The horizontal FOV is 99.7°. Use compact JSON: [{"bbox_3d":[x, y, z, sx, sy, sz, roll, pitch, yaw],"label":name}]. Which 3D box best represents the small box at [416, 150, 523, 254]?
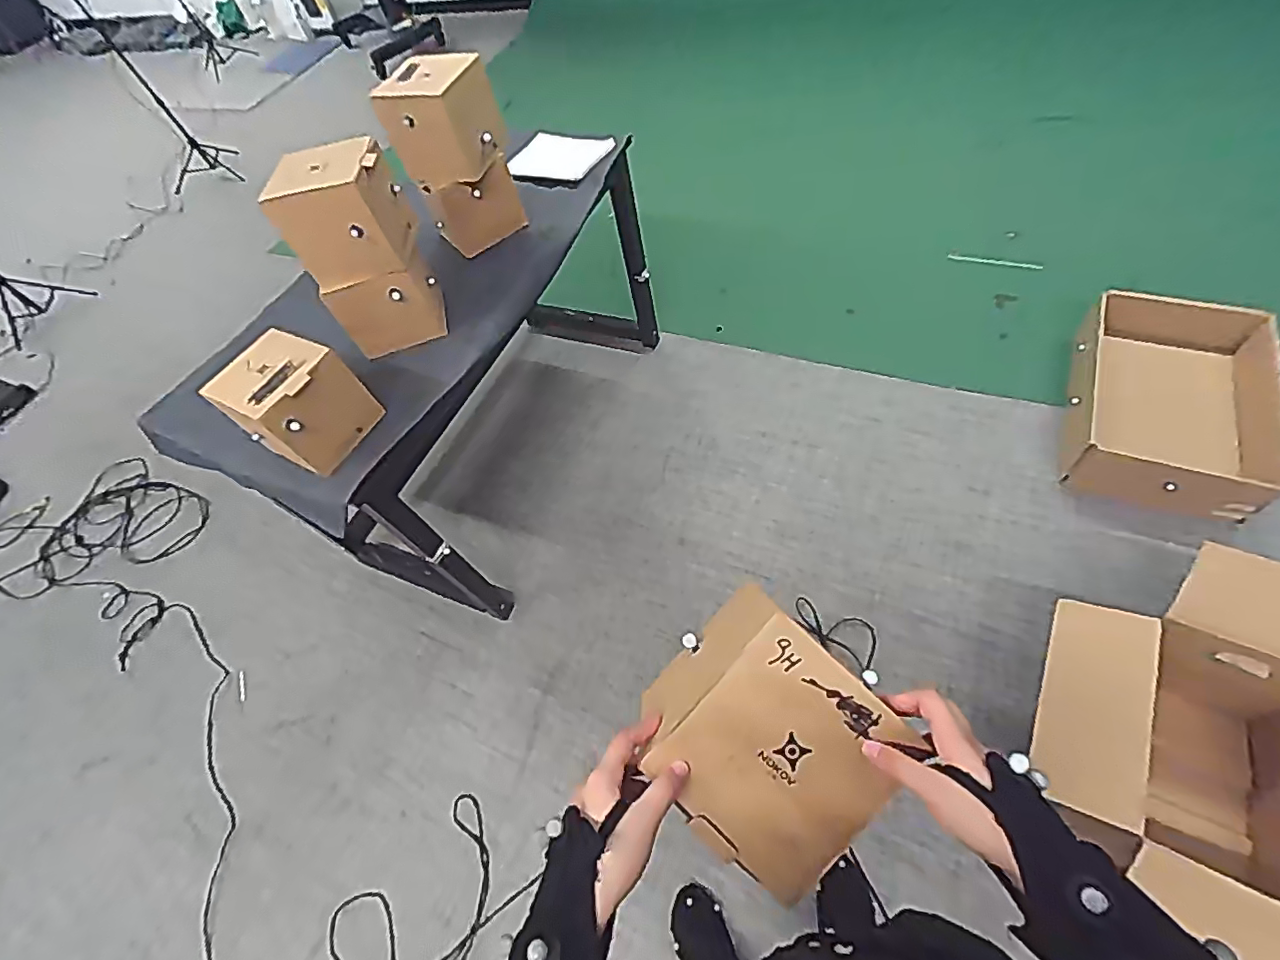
[{"bbox_3d":[-0.395,-0.671,1.268,0.179,0.176,0.168,-37,59,-12],"label":"small box"}]

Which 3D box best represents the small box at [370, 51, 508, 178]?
[{"bbox_3d":[-0.407,-0.755,1.126,0.179,0.176,0.168,12,62,18],"label":"small box"}]

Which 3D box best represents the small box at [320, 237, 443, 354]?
[{"bbox_3d":[-0.520,-0.391,1.113,0.179,0.176,0.168,-19,56,-1],"label":"small box"}]

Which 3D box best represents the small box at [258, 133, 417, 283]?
[{"bbox_3d":[-0.532,-0.488,0.983,0.179,0.176,0.168,-9,56,6],"label":"small box"}]
